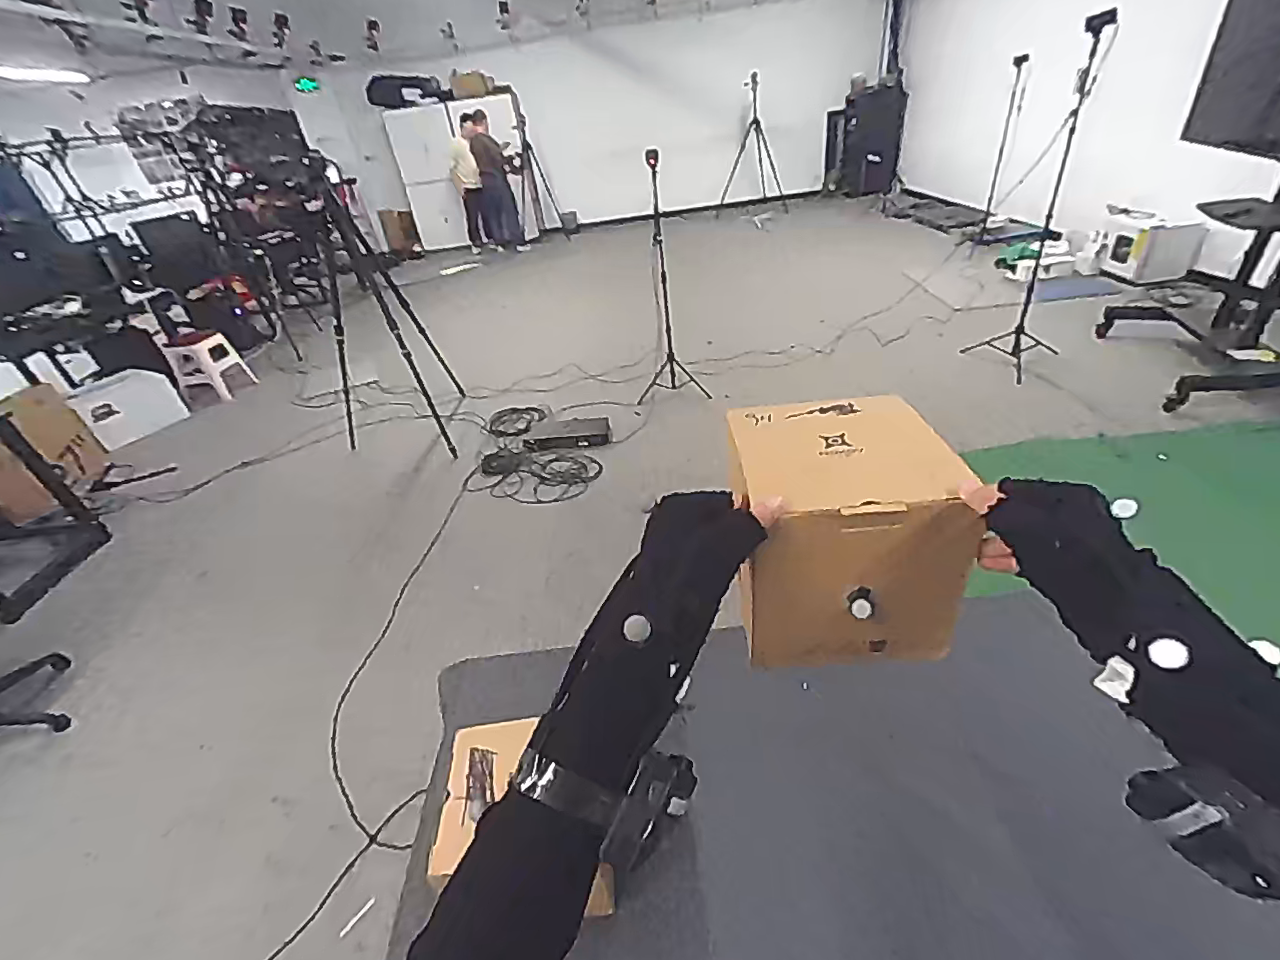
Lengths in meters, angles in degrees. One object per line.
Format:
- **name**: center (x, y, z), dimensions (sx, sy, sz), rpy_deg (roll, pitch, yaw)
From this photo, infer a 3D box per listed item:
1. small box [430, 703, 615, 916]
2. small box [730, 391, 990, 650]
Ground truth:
- **small box**: center (-0.132, 0.409, 0.673), dimensions (0.179, 0.176, 0.168), rpy_deg (-8, 35, -1)
- **small box**: center (0.174, 0.038, 0.490), dimensions (0.168, 0.176, 0.179), rpy_deg (-4, 34, 5)
